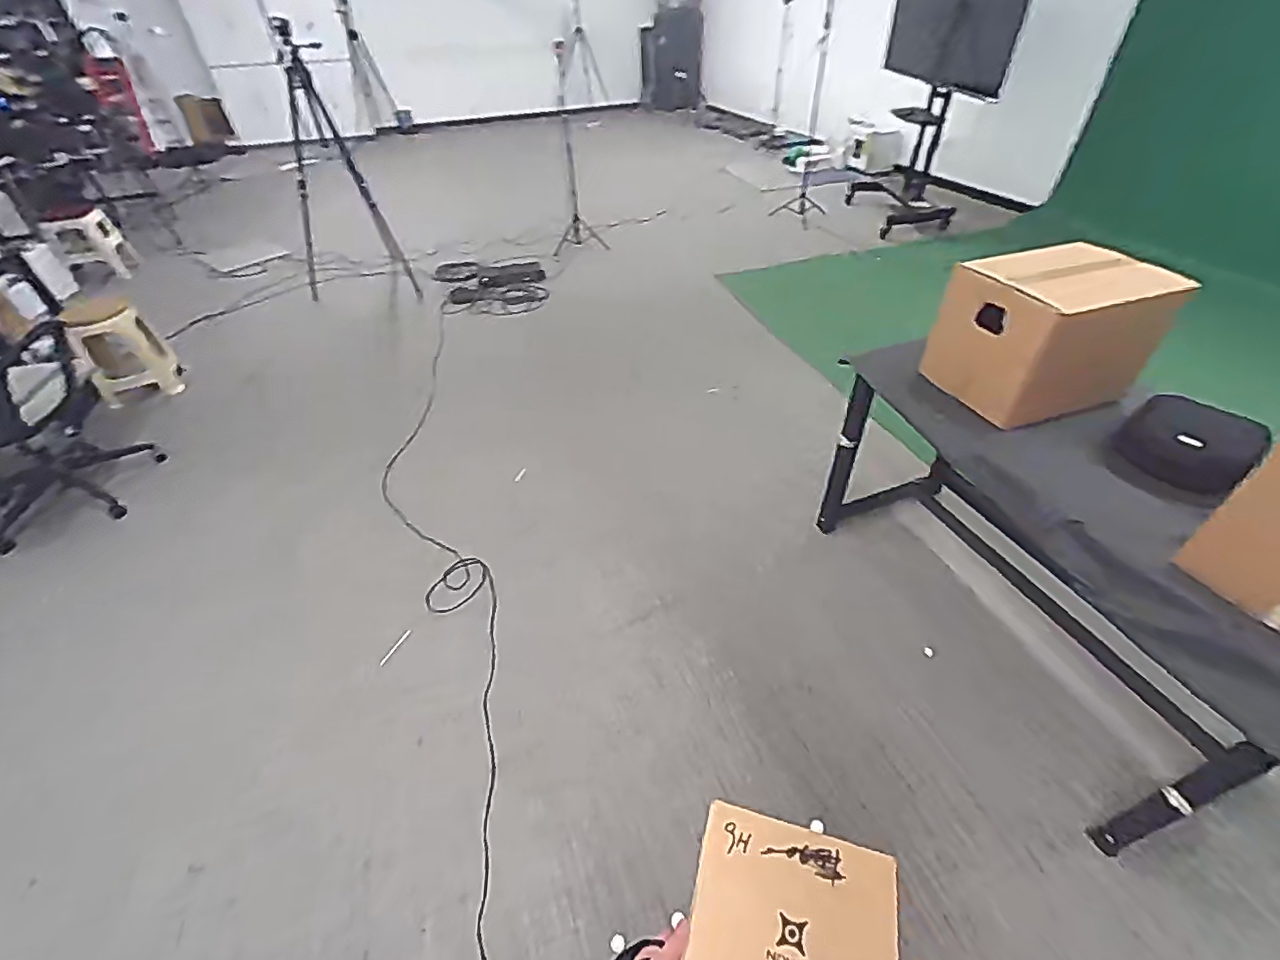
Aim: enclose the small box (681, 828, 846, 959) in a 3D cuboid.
[{"bbox_3d":[0.136,0.542,0.624,0.168,0.176,0.179,8,46,12],"label":"small box"}]
